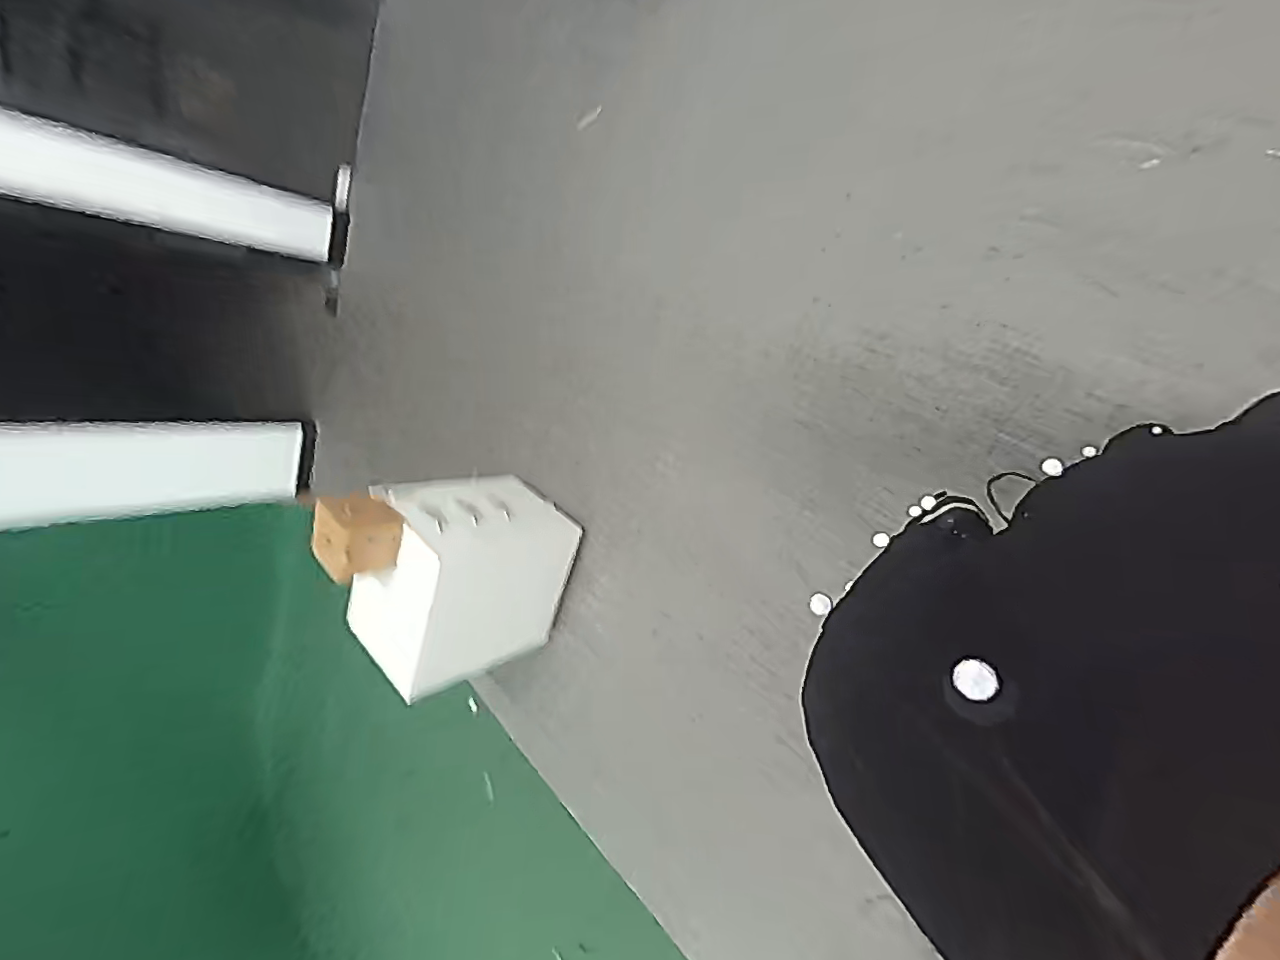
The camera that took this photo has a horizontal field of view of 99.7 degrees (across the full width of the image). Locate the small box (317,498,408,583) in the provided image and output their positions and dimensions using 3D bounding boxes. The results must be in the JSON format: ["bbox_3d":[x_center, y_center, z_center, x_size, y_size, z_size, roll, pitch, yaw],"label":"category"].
[{"bbox_3d":[-0.787,0.161,1.537,0.179,0.176,0.168,33,113,31],"label":"small box"}]
